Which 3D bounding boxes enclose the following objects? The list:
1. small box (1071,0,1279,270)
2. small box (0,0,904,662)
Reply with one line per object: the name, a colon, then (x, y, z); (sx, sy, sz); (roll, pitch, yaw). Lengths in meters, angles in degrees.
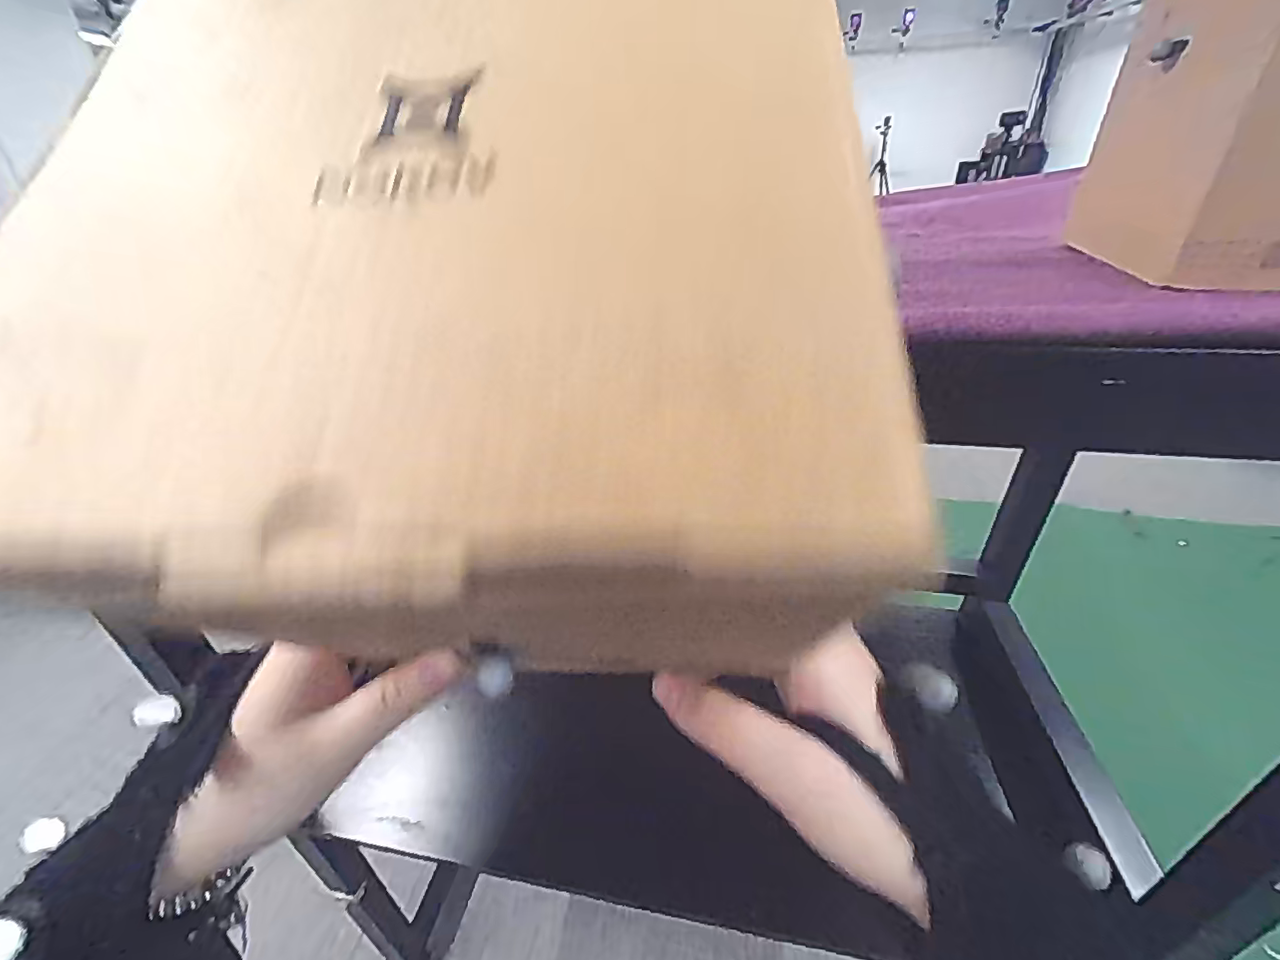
small box: (0.402, -0.228, 0.321); (0.168, 0.176, 0.179); (6, 35, 16)
small box: (-0.038, -0.036, 0.178); (0.168, 0.176, 0.179); (-2, 70, 7)
